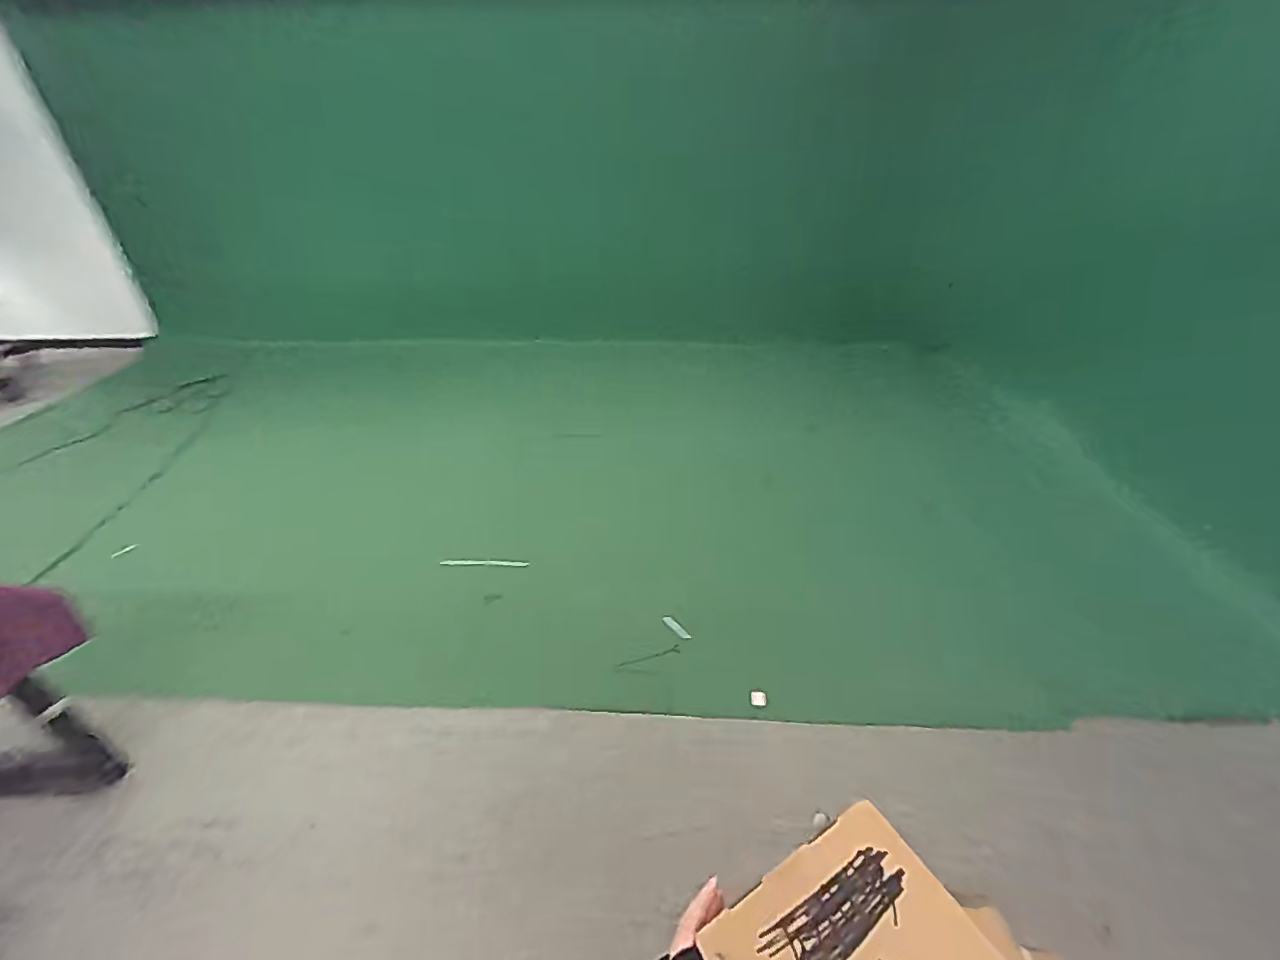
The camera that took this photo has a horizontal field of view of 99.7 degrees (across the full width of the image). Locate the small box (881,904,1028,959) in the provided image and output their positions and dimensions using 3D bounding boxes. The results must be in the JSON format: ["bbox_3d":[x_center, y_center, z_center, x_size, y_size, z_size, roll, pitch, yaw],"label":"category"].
[{"bbox_3d":[0.502,0.801,0.843,0.168,0.176,0.179,2,34,1],"label":"small box"}]
